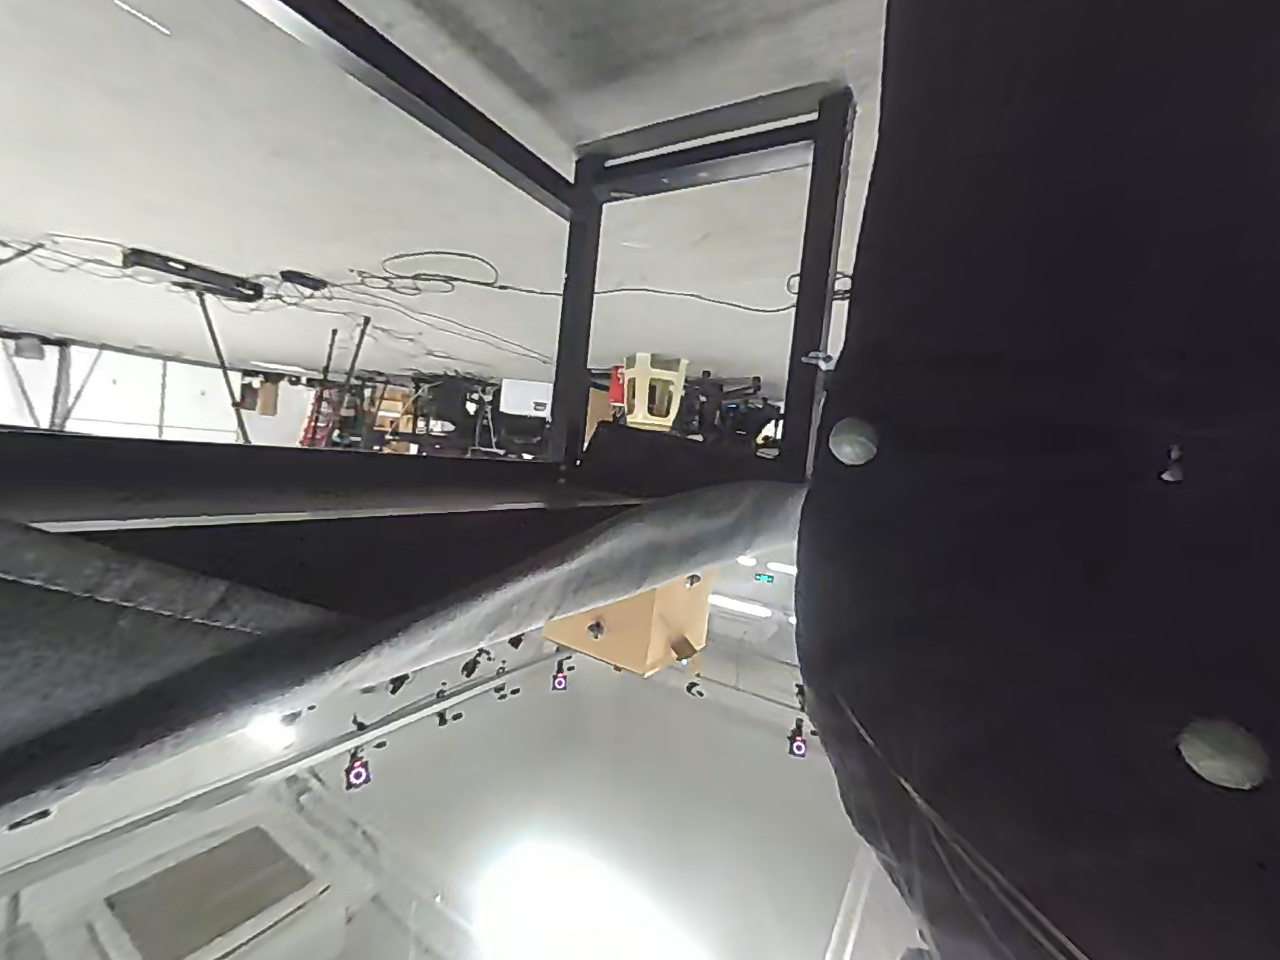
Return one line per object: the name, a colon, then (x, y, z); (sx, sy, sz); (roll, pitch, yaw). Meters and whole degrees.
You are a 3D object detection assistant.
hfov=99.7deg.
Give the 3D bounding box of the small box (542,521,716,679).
small box: (-0.010, 0.151, 0.757); (0.179, 0.176, 0.168); (8, -178, 34)
